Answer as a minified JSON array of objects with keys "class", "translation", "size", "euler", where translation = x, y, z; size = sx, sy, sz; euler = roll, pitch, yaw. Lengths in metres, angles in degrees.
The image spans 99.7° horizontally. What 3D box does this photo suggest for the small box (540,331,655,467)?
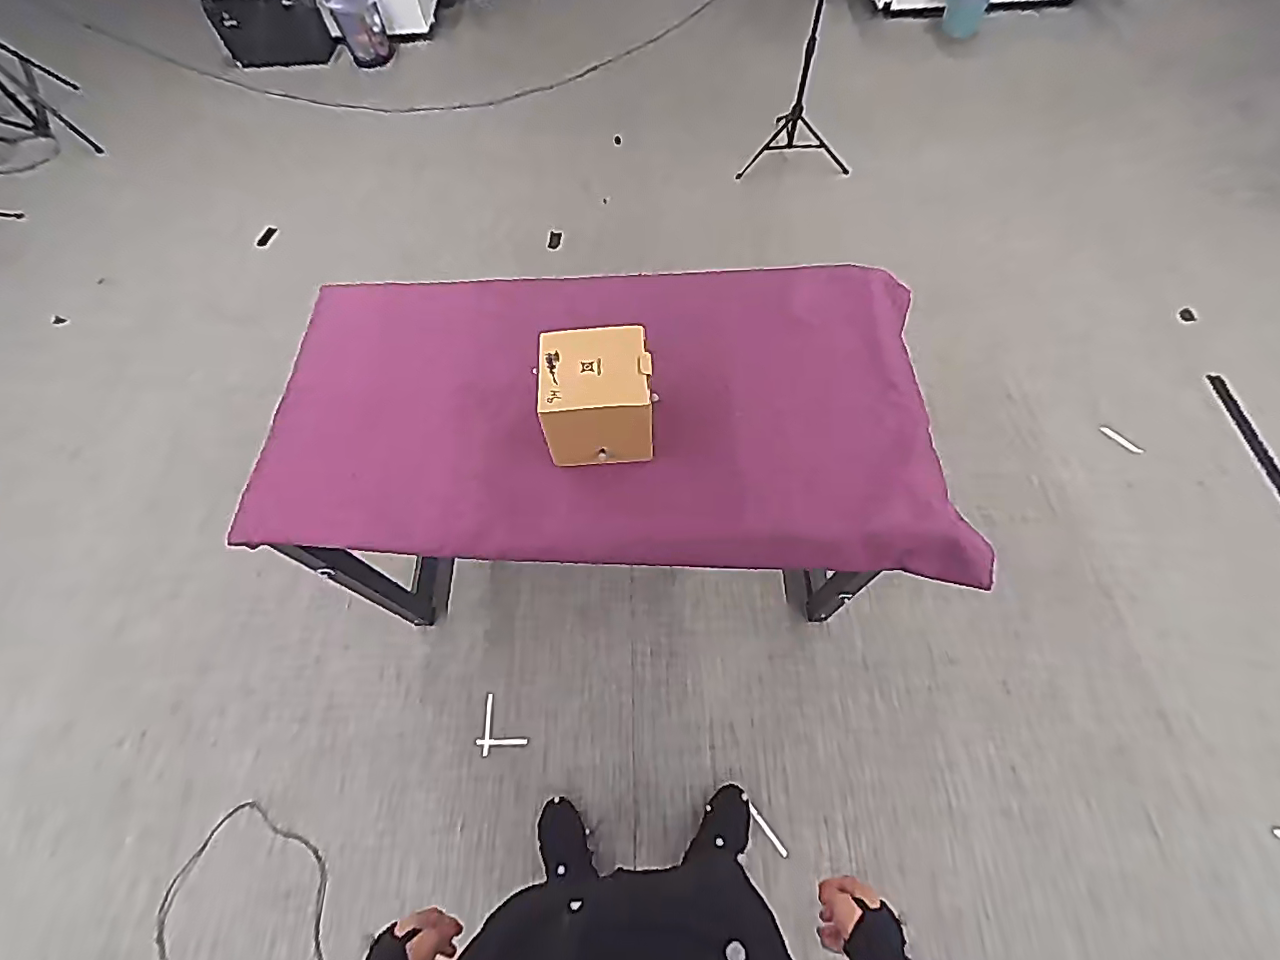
[{"class":"small box","translation":[-0.067,-0.134,0.928],"size":[0.179,0.176,0.168],"euler":[-3,61,0]}]
